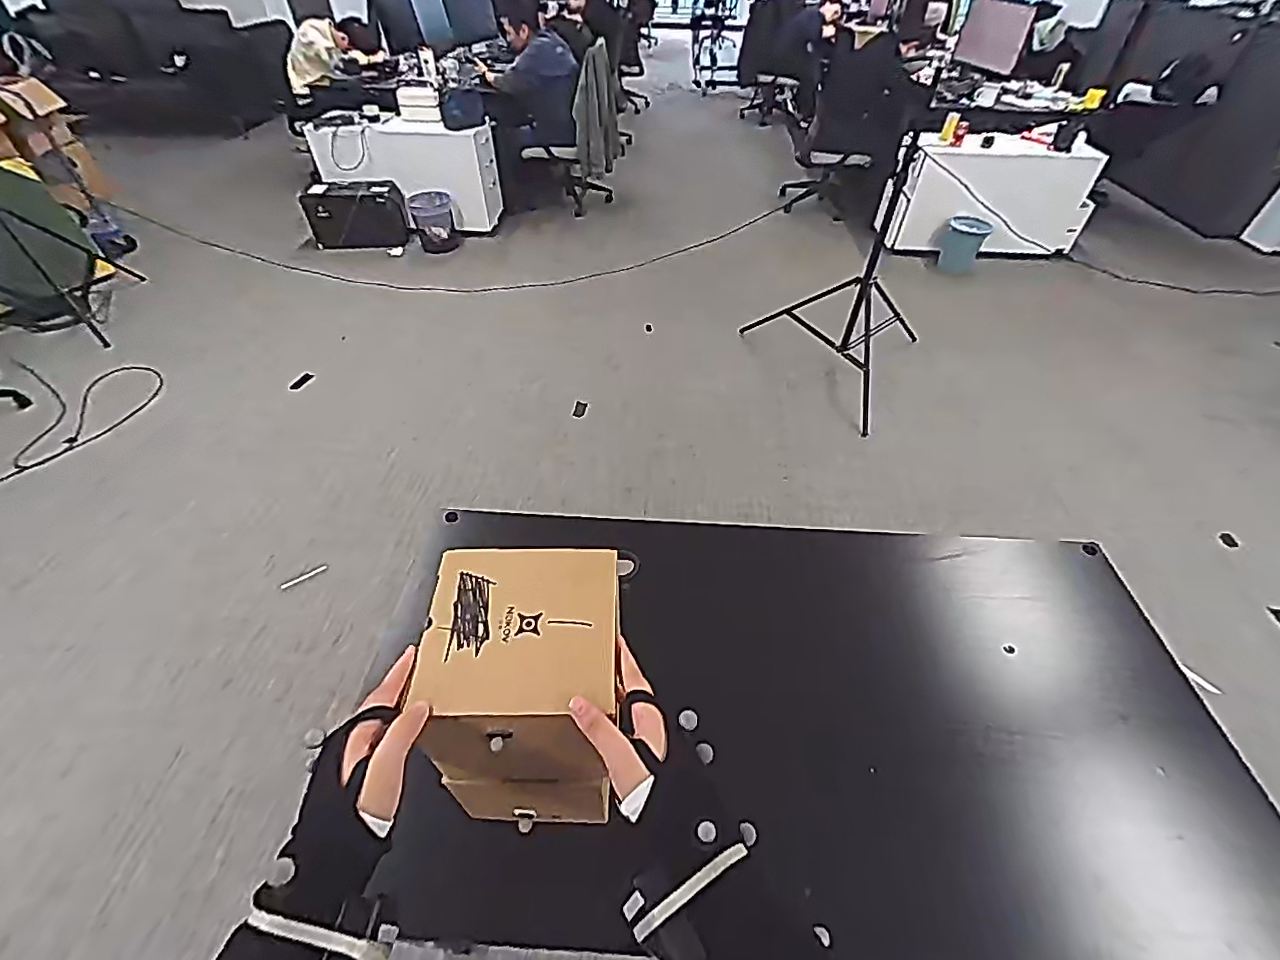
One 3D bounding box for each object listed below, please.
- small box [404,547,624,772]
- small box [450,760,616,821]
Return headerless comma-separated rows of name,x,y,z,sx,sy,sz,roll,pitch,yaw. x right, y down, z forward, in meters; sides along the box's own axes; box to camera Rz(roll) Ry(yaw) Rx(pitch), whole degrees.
small box,-0.106,0.184,0.548,0.179,0.176,0.168,0,46,-1
small box,-0.114,0.299,0.666,0.168,0.176,0.179,0,47,0
